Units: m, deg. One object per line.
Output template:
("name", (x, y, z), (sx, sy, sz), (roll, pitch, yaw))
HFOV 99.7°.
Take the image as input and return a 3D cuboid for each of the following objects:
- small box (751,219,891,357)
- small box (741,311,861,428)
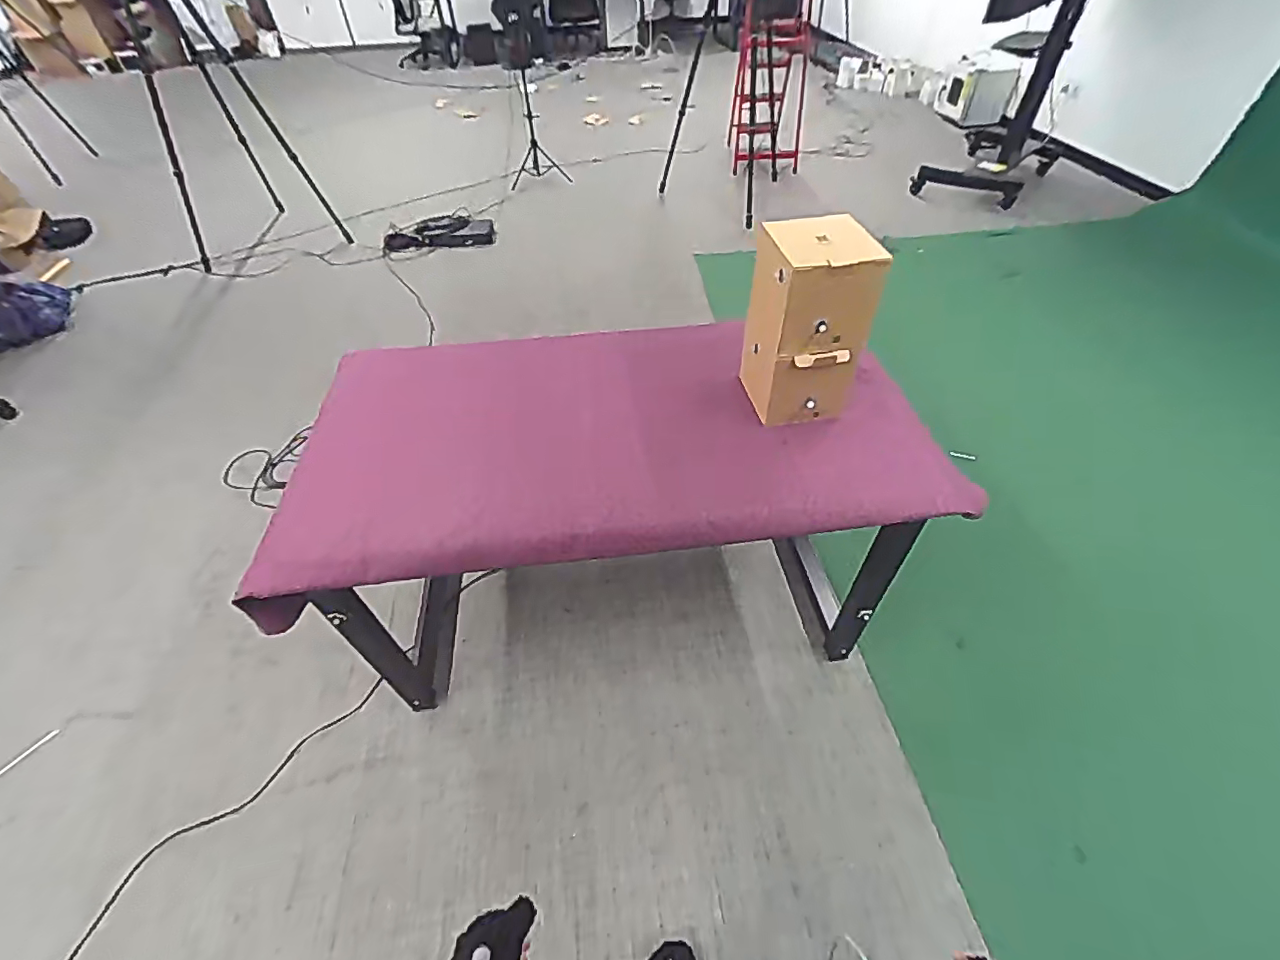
("small box", (0.306, -0.341, 0.961), (0.168, 0.176, 0.179), (-8, 49, -5))
("small box", (0.307, -0.227, 1.079), (0.168, 0.176, 0.179), (-9, 48, -5))
